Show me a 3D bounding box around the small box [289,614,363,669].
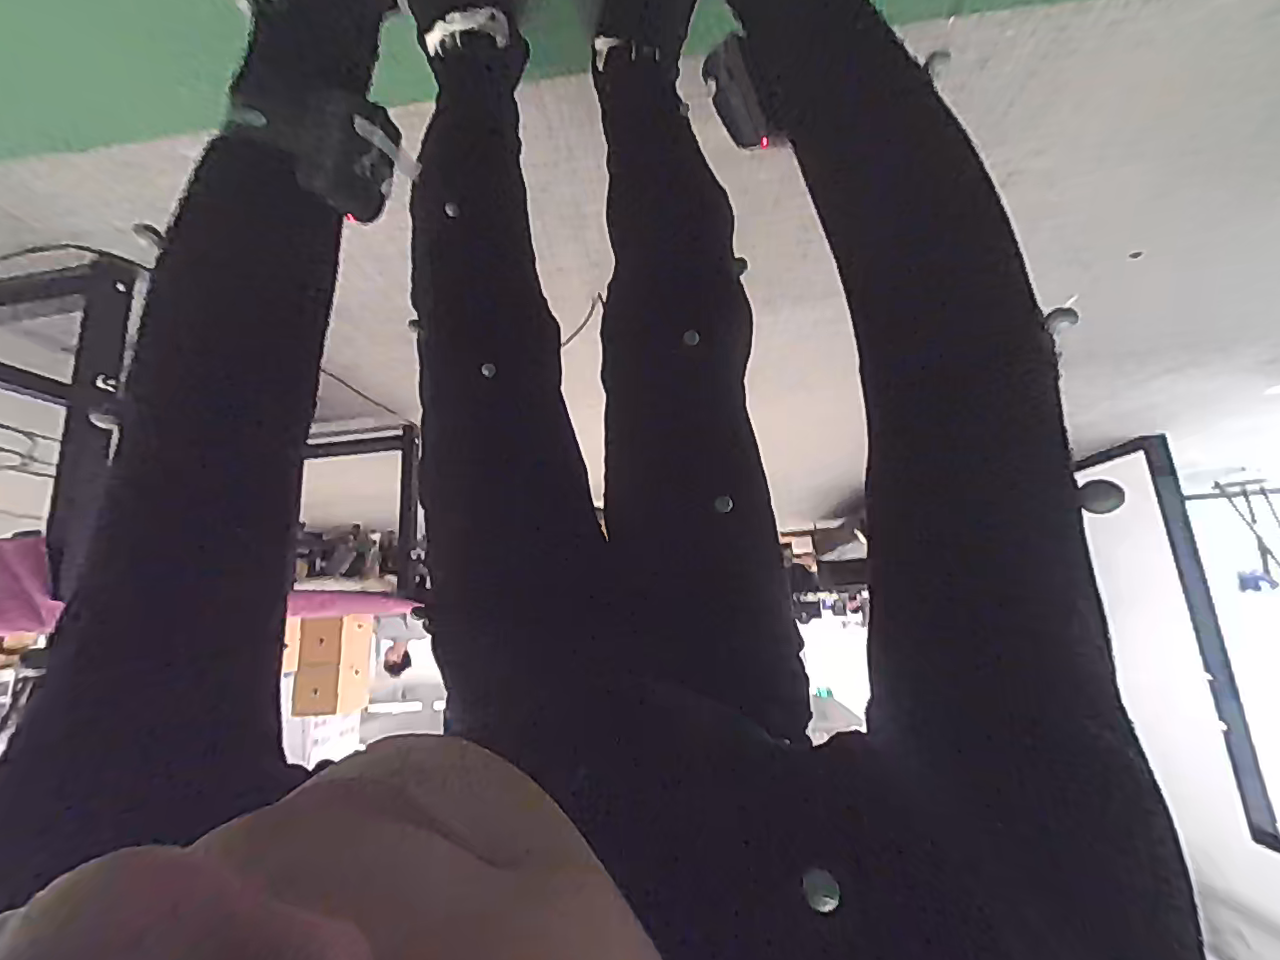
[{"bbox_3d":[-1.101,0.564,1.904,0.179,0.176,0.168,-7,167,7],"label":"small box"}]
